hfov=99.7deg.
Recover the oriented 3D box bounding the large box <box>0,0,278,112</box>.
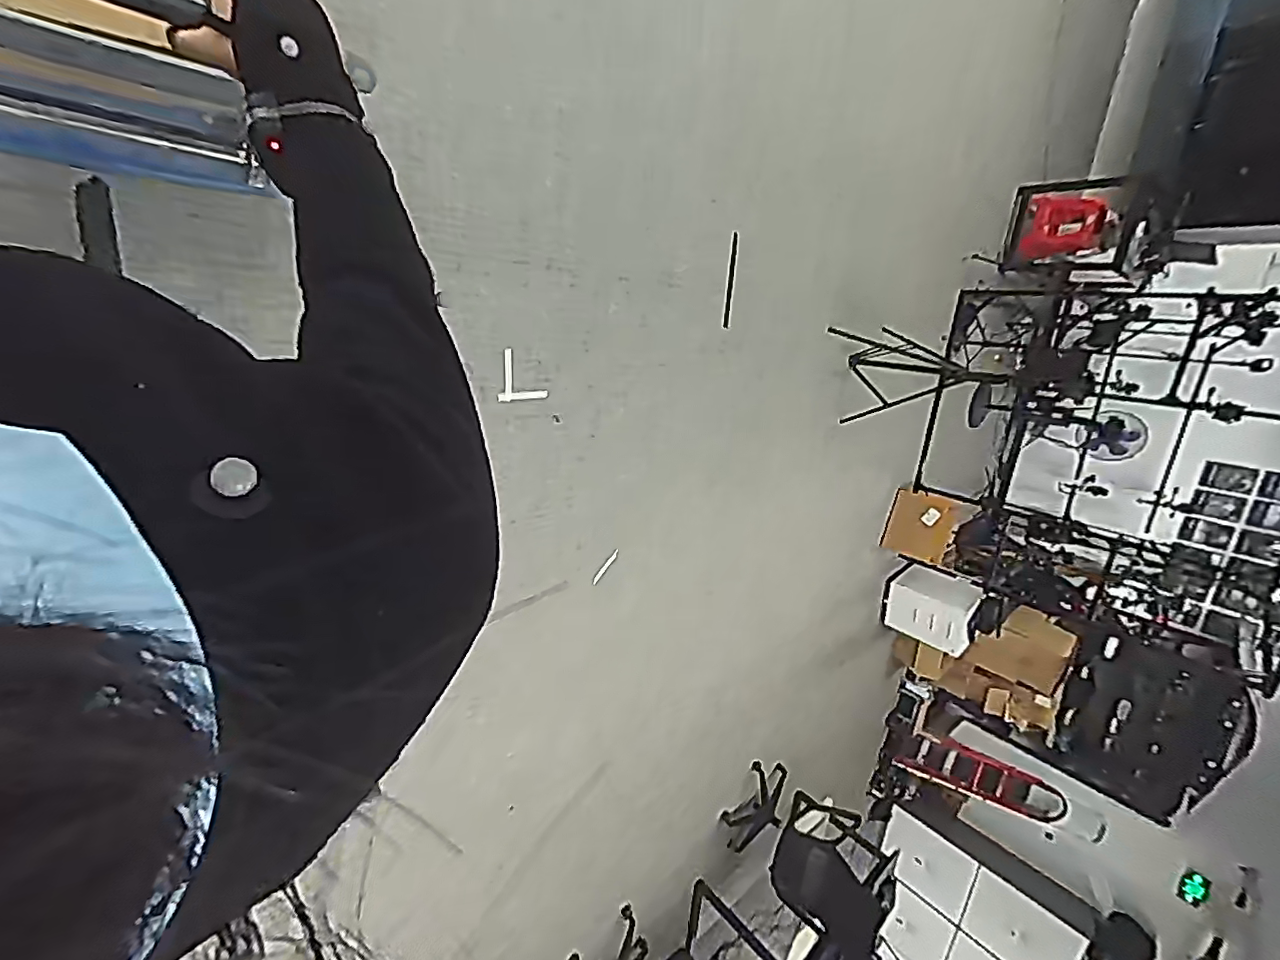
[{"bbox_3d":[-0.761,-0.729,0.700,0.408,0.320,0.320,-15,116,-42],"label":"large box"}]
